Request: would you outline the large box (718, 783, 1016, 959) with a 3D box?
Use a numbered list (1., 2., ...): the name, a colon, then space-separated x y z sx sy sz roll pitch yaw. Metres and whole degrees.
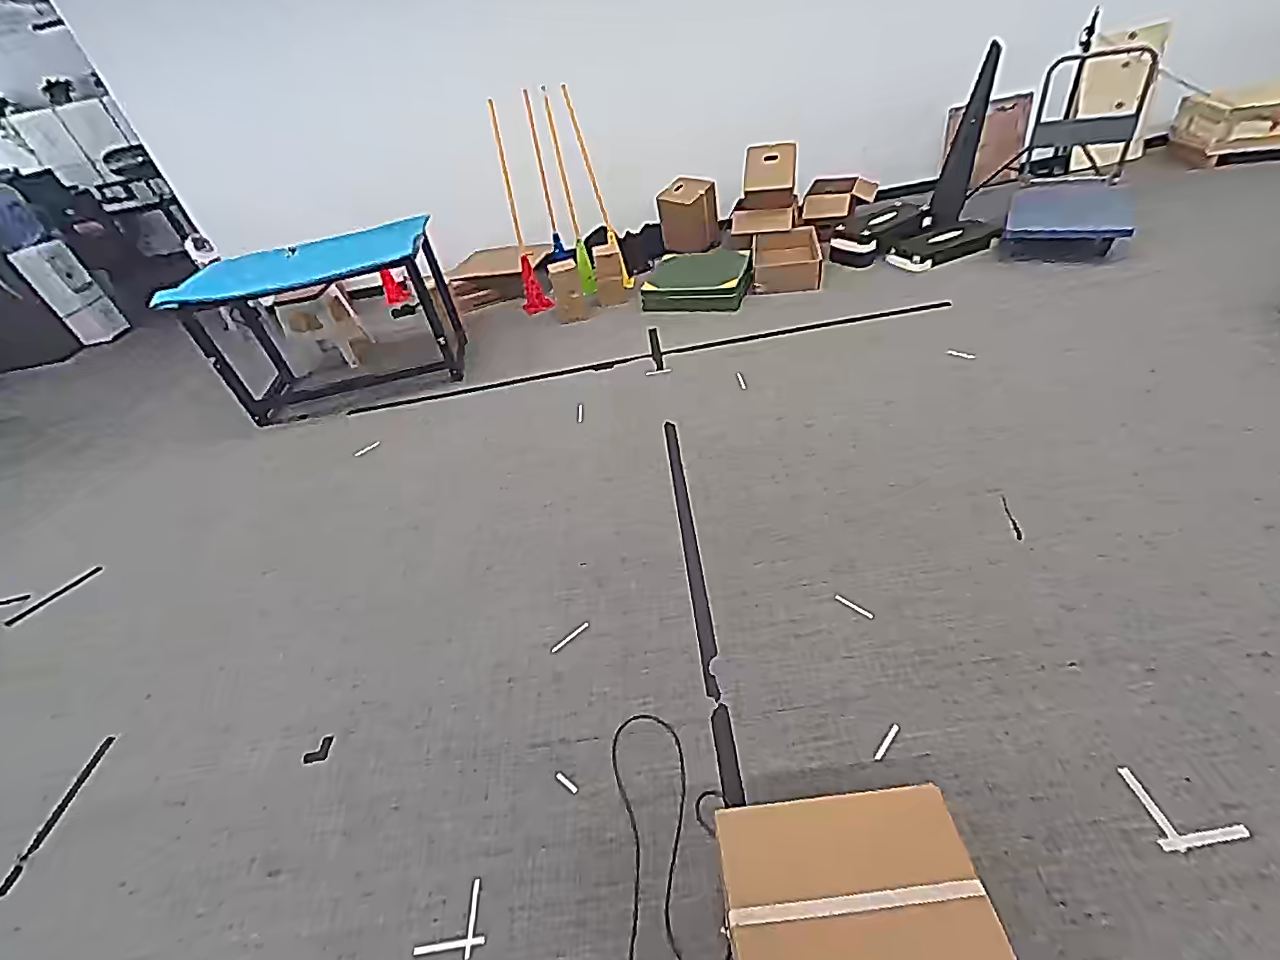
1. large box: 0.369 0.786 0.961 0.408 0.320 0.320 -9 40 2
